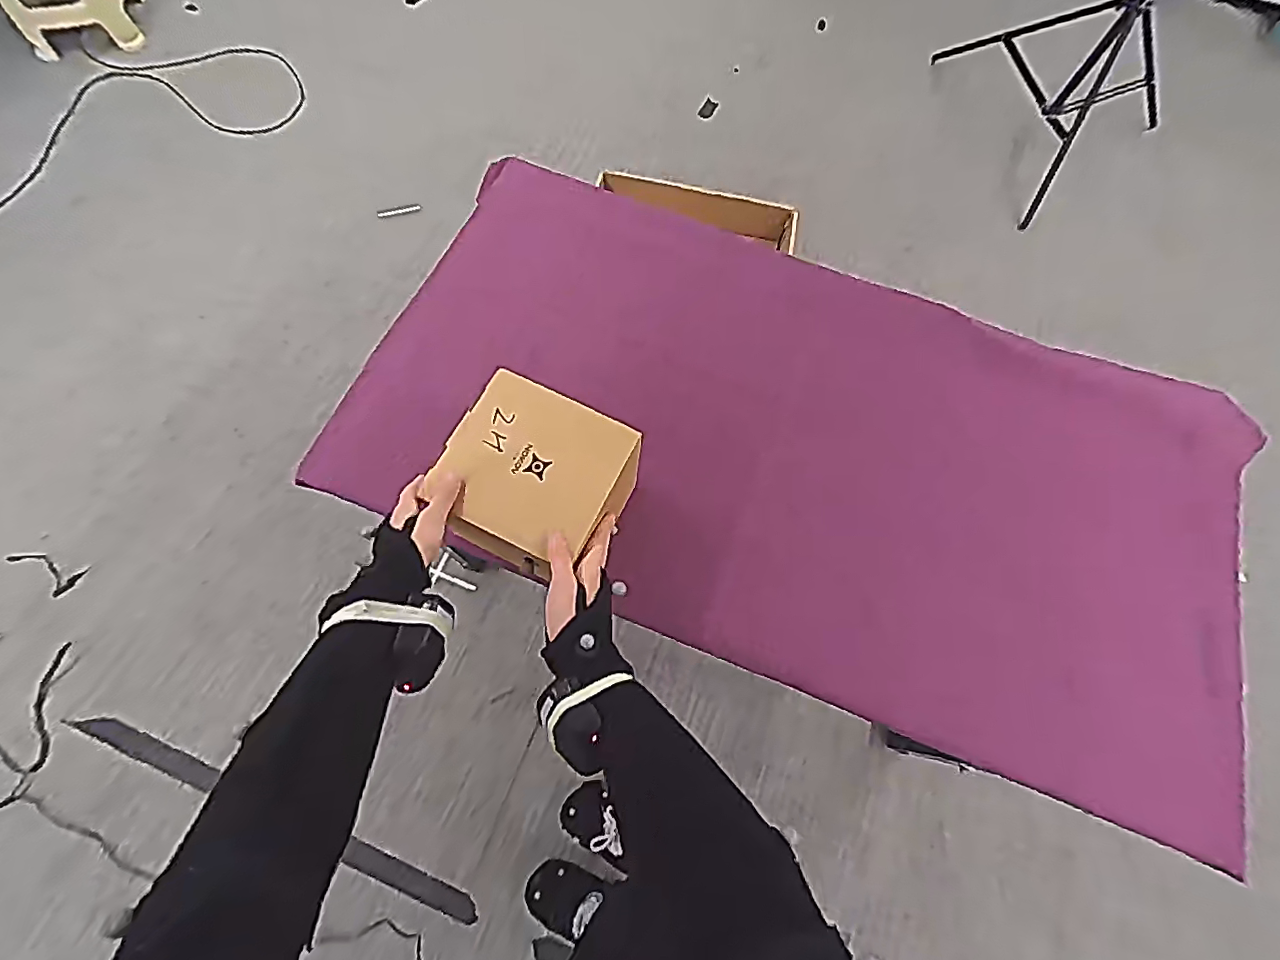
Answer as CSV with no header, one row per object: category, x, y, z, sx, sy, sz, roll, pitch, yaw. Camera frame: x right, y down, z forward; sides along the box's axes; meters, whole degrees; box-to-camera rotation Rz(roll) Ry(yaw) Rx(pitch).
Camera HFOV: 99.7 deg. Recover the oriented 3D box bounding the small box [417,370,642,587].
small box,-0.113,0.011,0.624,0.179,0.176,0.168,25,71,7
